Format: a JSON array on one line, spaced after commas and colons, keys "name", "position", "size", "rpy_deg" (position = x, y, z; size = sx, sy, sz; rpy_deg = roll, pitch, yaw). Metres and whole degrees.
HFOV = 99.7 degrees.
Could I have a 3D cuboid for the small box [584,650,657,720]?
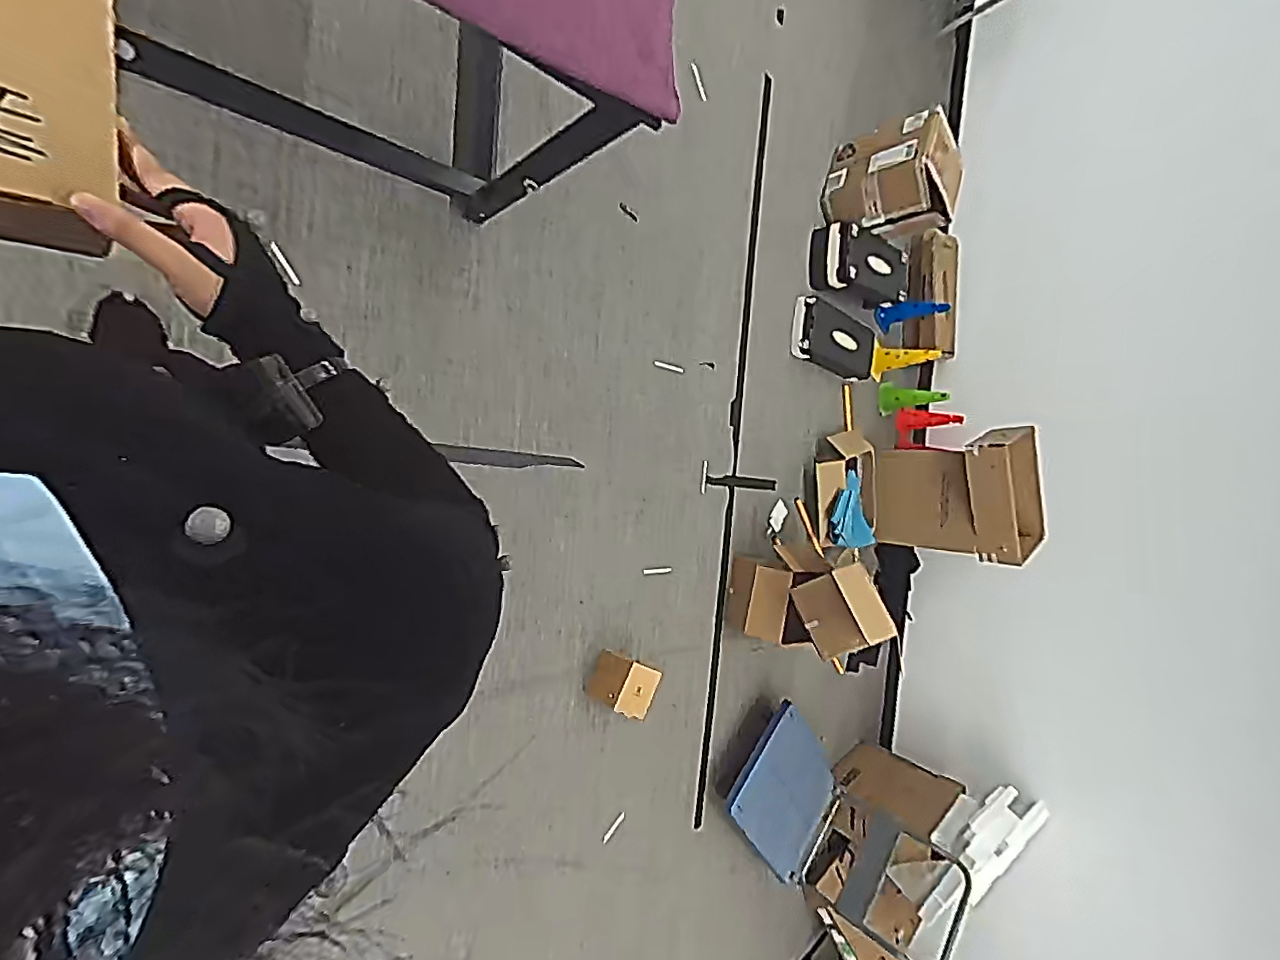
[{"name": "small box", "position": [-0.075, 0.739, 1.960], "size": [0.168, 0.176, 0.179], "rpy_deg": [37, 71, -39]}]
